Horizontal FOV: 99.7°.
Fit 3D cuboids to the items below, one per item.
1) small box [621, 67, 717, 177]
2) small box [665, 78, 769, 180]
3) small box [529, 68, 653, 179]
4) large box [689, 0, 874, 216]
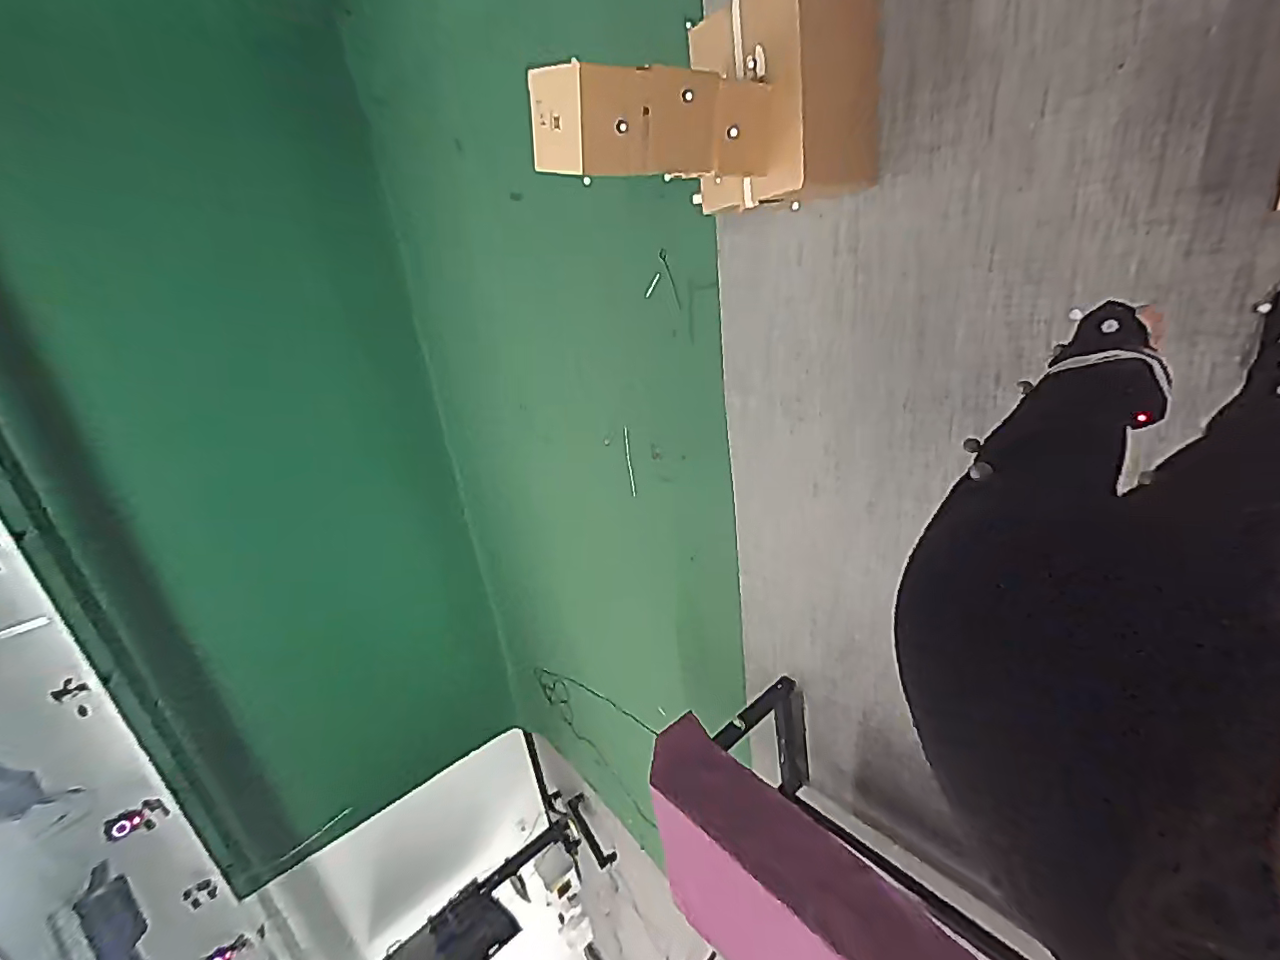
[{"bbox_3d":[0.041,-0.731,1.117,0.168,0.176,0.179,33,134,41],"label":"small box"},{"bbox_3d":[0.170,-0.773,1.208,0.168,0.176,0.179,29,131,43],"label":"small box"},{"bbox_3d":[-0.091,-0.677,1.034,0.179,0.176,0.168,34,134,40],"label":"small box"},{"bbox_3d":[0.352,-0.896,1.322,0.320,0.320,0.408,16,120,49],"label":"large box"}]
